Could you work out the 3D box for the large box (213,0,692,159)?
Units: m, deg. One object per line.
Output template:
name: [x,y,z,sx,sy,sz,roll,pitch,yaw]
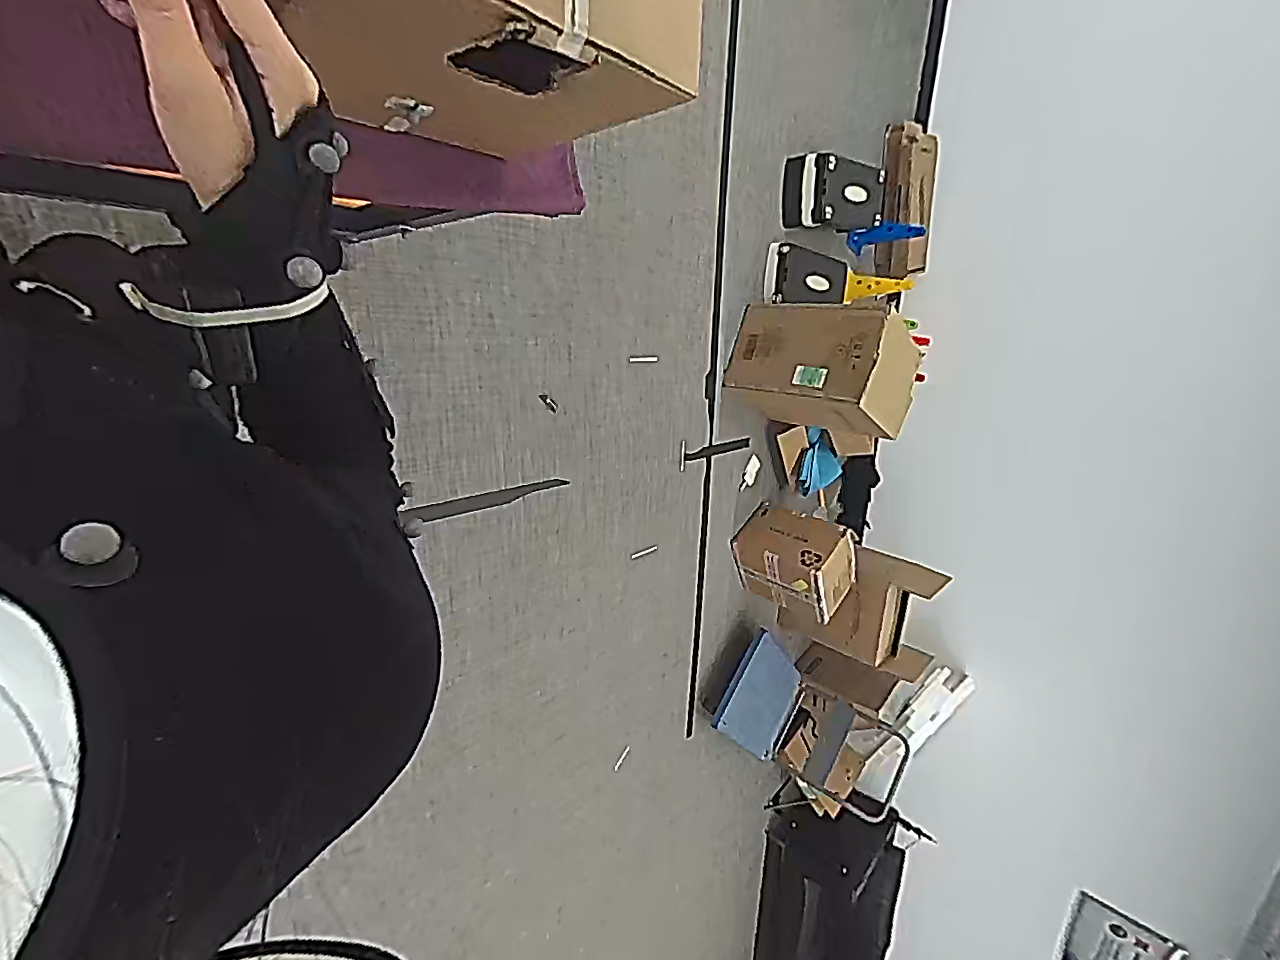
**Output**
large box: [-0.165,-0.543,0.445,0.320,0.320,0.408,-16,113,-45]
